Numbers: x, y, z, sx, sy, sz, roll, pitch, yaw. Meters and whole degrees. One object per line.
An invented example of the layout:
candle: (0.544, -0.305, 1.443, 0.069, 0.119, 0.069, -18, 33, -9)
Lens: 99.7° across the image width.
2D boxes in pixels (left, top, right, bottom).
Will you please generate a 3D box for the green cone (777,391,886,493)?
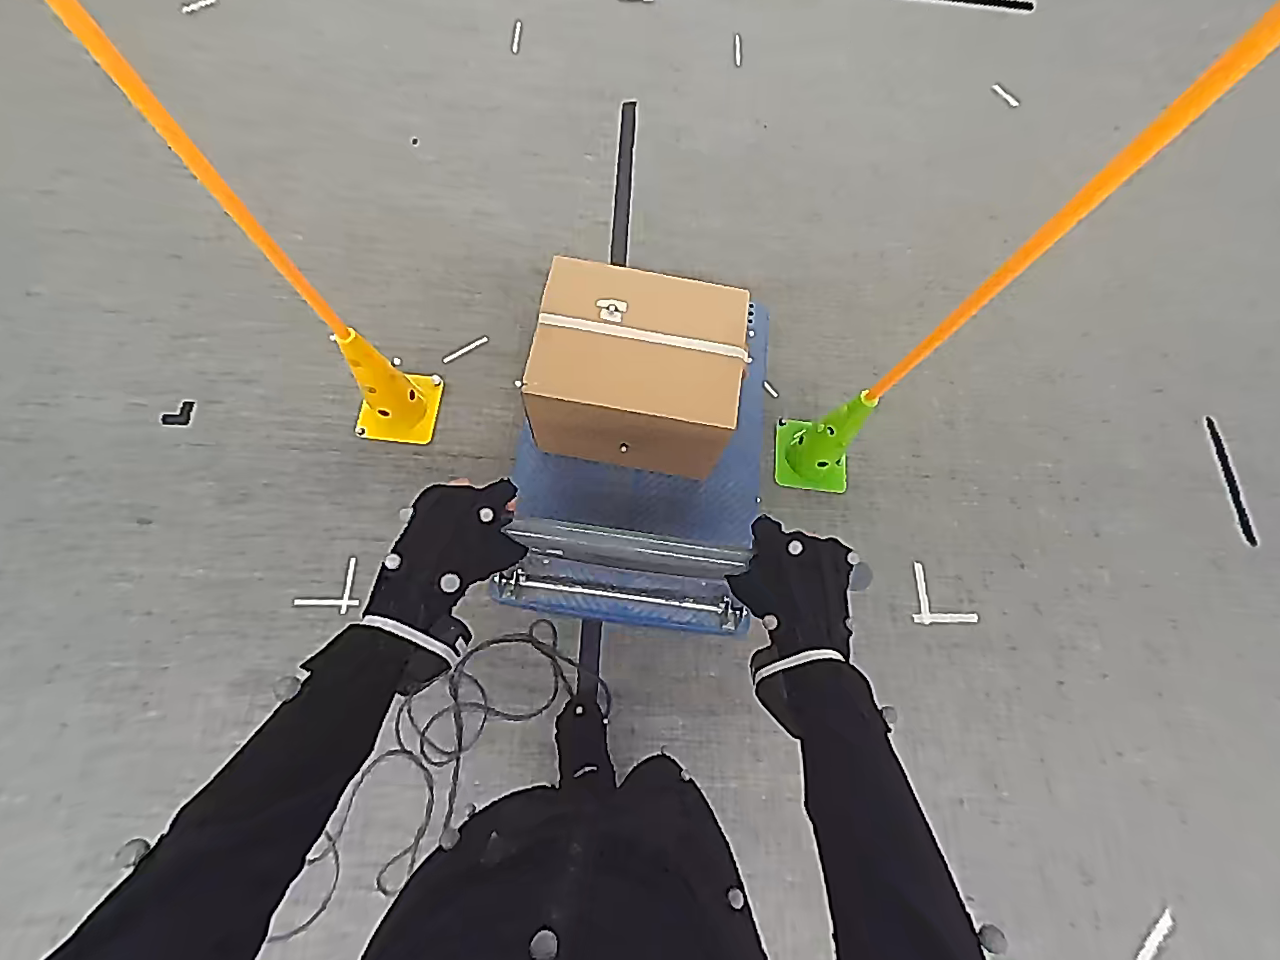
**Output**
green cone: (0.497, -0.120, 1.349, 0.202, 0.368, 0.200, 8, 72, -3)

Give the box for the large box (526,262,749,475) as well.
large box: (-0.002, -0.225, 1.193, 0.408, 0.320, 0.320, 10, 72, 0)
